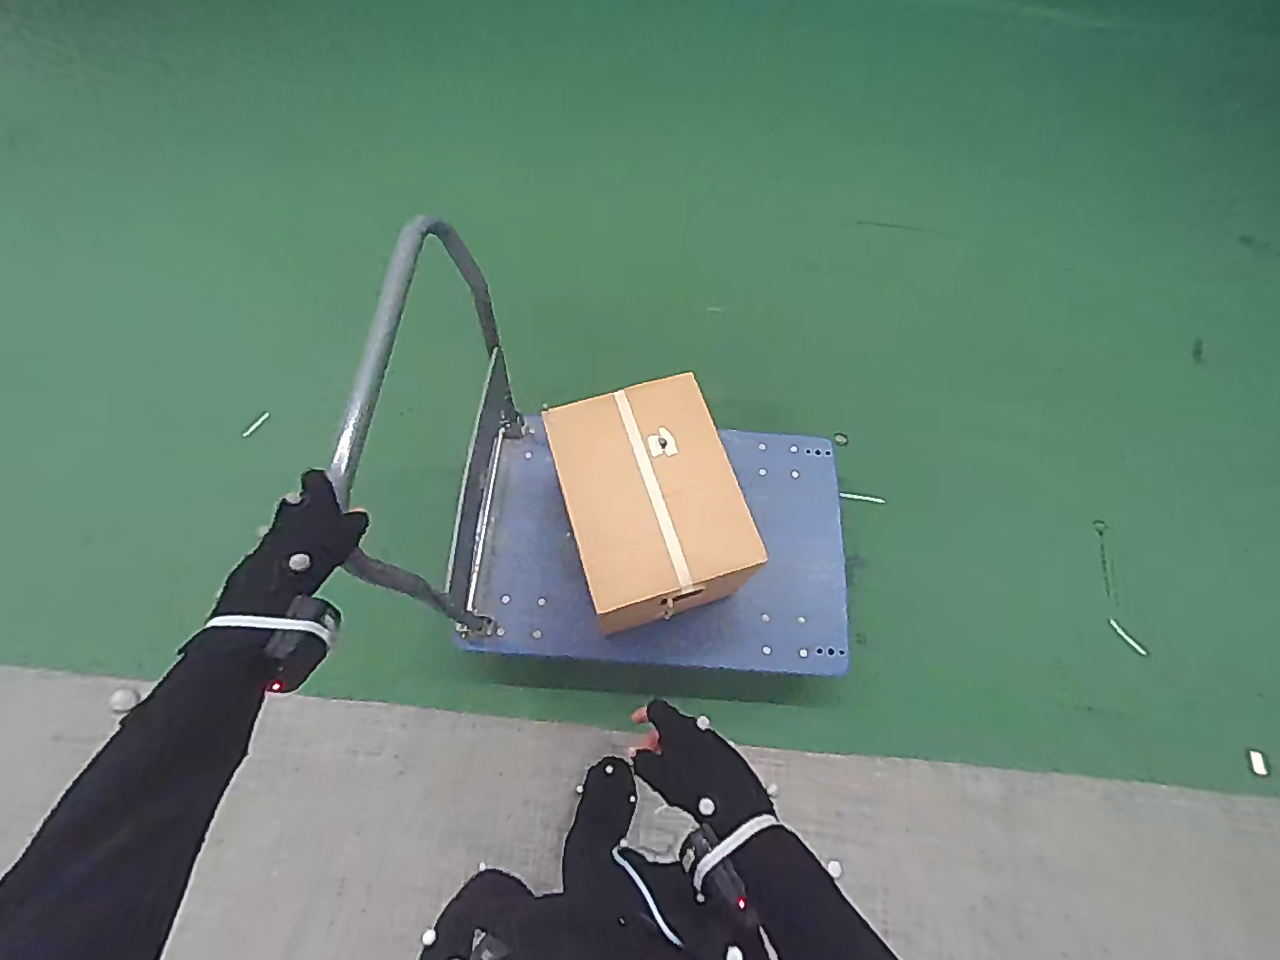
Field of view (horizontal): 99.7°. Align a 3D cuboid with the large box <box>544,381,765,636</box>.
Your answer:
[{"bbox_3d":[0.017,0.071,1.138,0.320,0.320,0.408,-16,68,-8],"label":"large box"}]
